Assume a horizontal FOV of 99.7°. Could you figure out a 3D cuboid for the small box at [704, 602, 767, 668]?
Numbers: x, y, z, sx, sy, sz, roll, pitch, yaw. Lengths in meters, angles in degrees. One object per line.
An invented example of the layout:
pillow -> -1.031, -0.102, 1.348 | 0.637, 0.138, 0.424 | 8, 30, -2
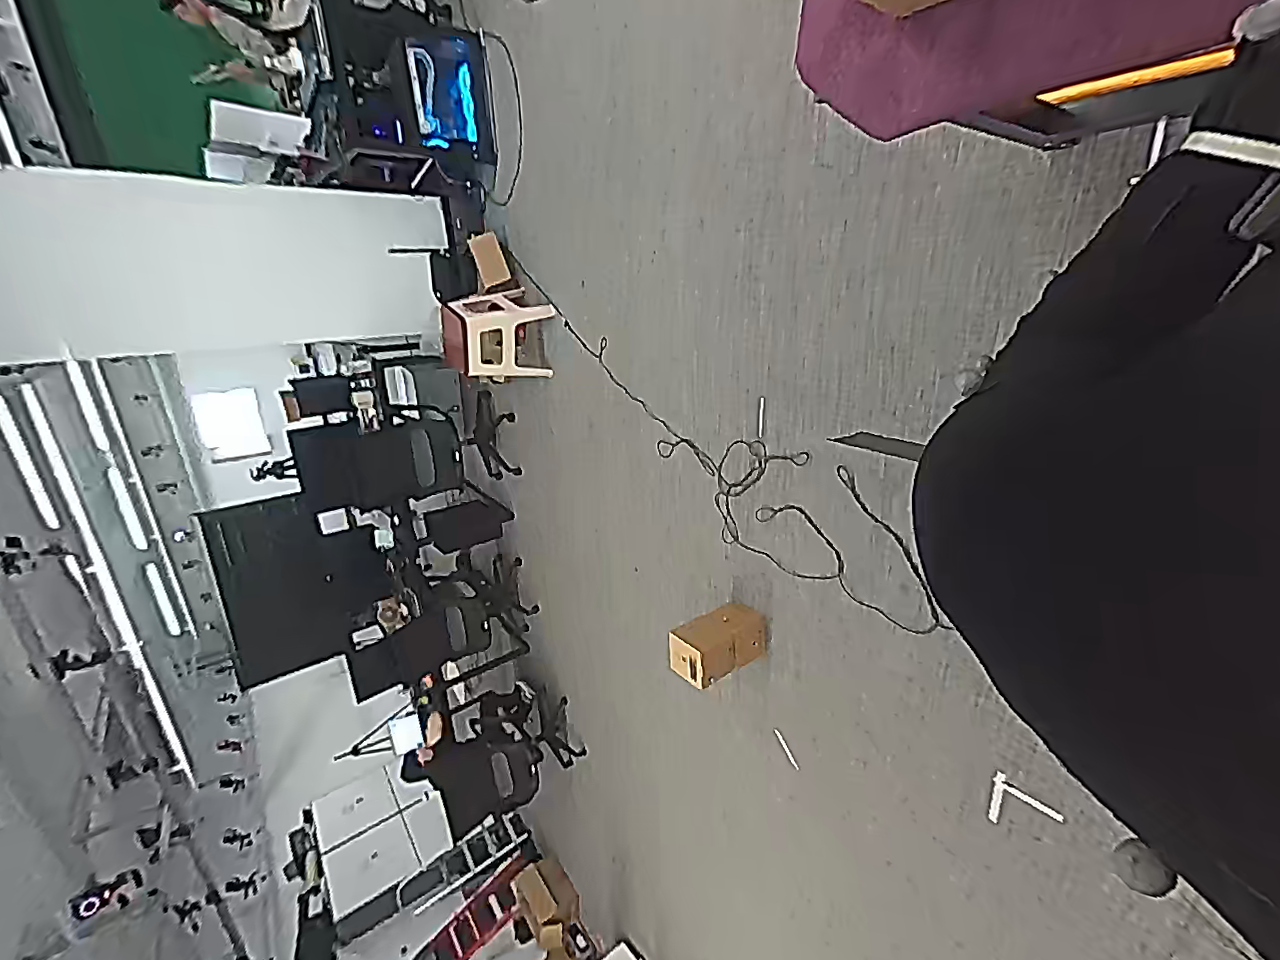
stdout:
small box -> 0.372, 0.595, 2.102 | 0.179, 0.176, 0.168 | 14, 115, 52
